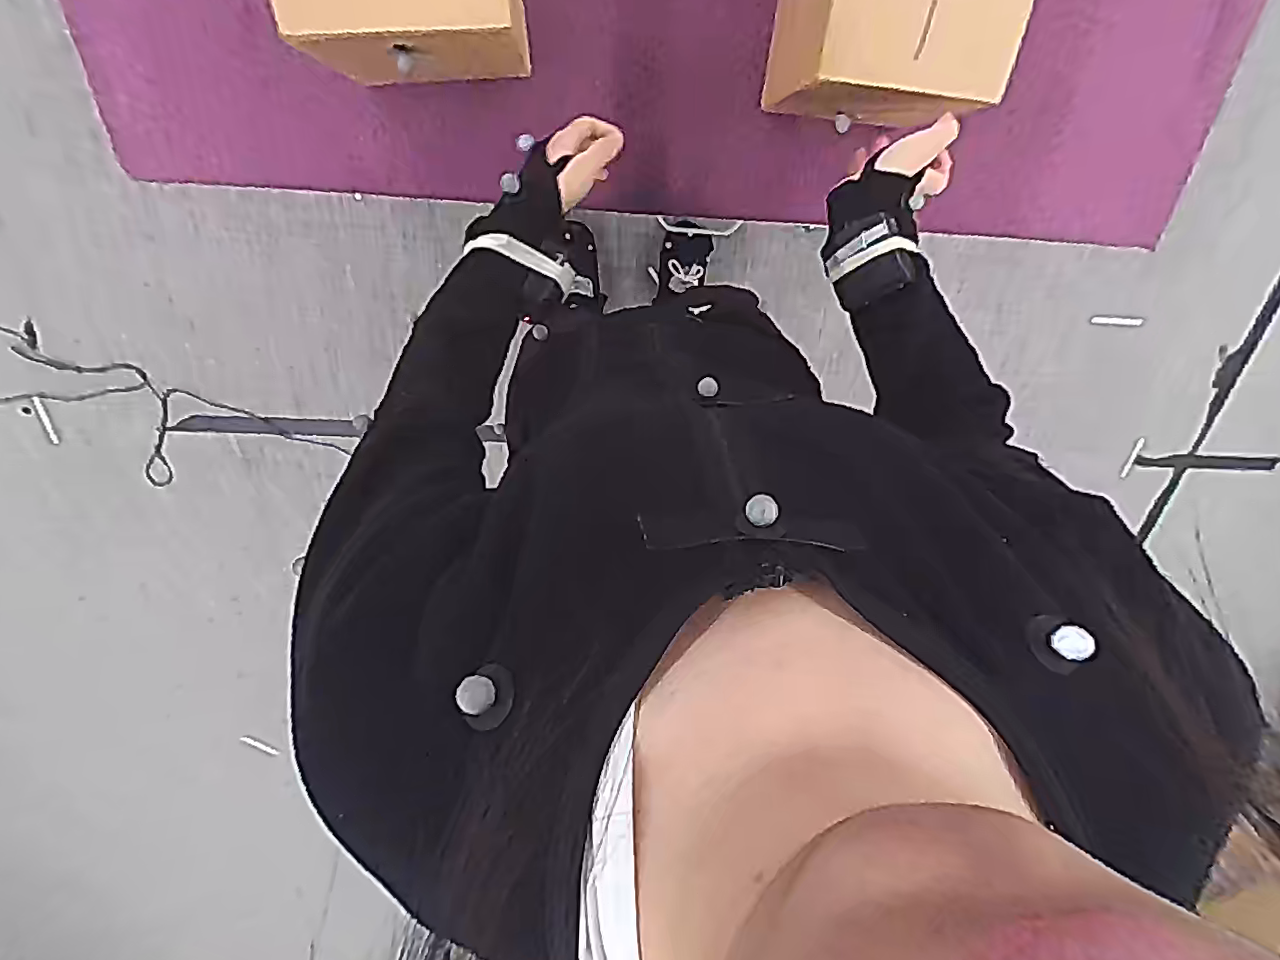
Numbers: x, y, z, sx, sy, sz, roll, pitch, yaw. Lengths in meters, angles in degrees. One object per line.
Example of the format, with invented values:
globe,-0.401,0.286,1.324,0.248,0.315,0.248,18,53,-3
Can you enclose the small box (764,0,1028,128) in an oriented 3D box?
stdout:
small box,0.224,-0.439,0.487,0.168,0.176,0.179,3,117,-7

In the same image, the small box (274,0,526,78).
small box,-0.194,-0.450,0.446,0.179,0.176,0.168,-5,117,-2
